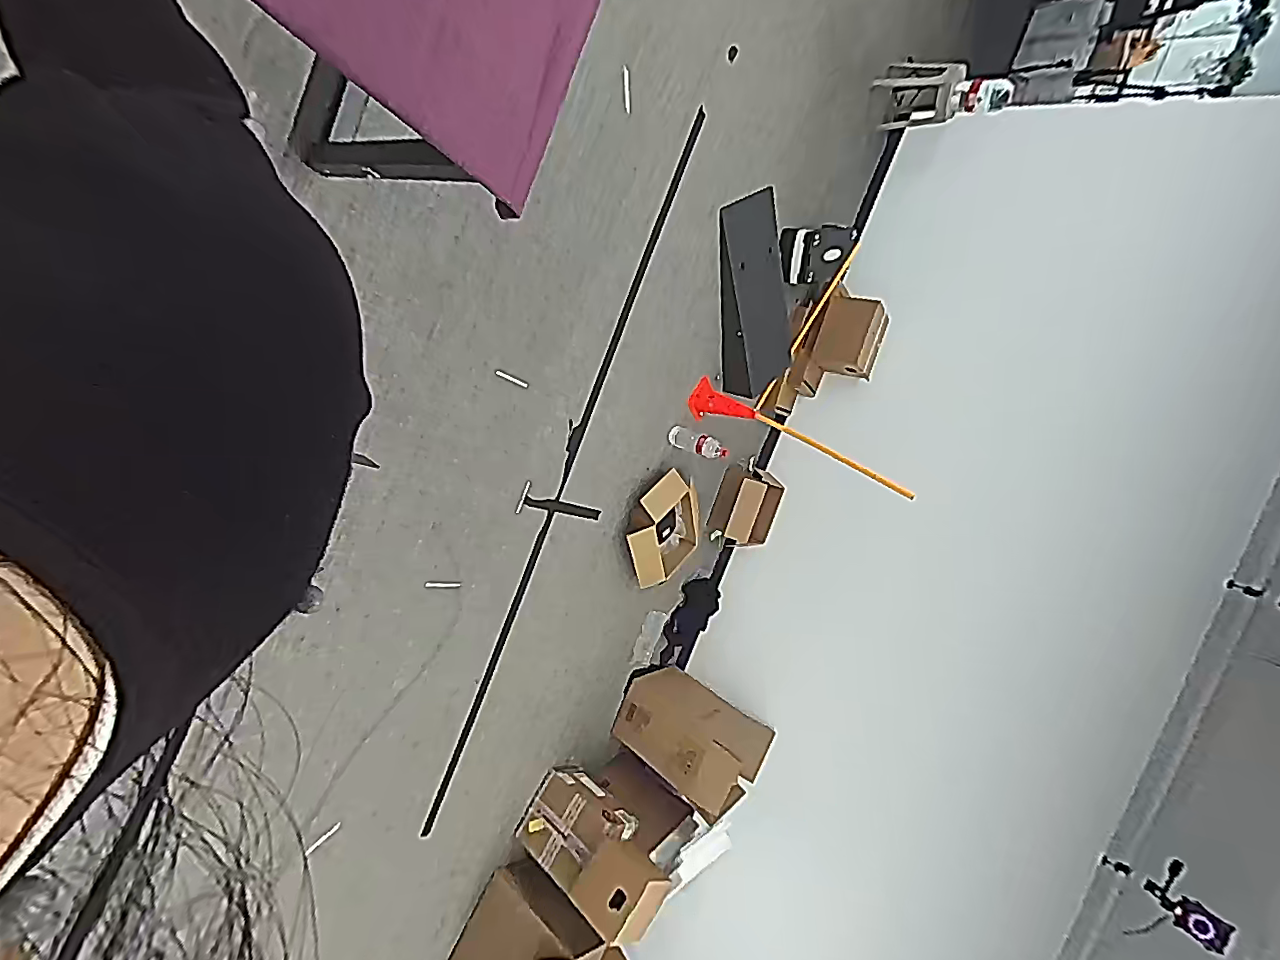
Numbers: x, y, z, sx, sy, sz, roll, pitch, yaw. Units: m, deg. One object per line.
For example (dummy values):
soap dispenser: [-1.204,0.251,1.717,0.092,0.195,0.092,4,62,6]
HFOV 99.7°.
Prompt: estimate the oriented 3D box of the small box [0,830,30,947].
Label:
small box: [-0.728,0.462,0.504,0.168,0.176,0.179,17,96,-57]

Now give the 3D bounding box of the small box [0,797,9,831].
small box: [-0.852,0.409,0.594,0.168,0.176,0.179,20,94,-57]
